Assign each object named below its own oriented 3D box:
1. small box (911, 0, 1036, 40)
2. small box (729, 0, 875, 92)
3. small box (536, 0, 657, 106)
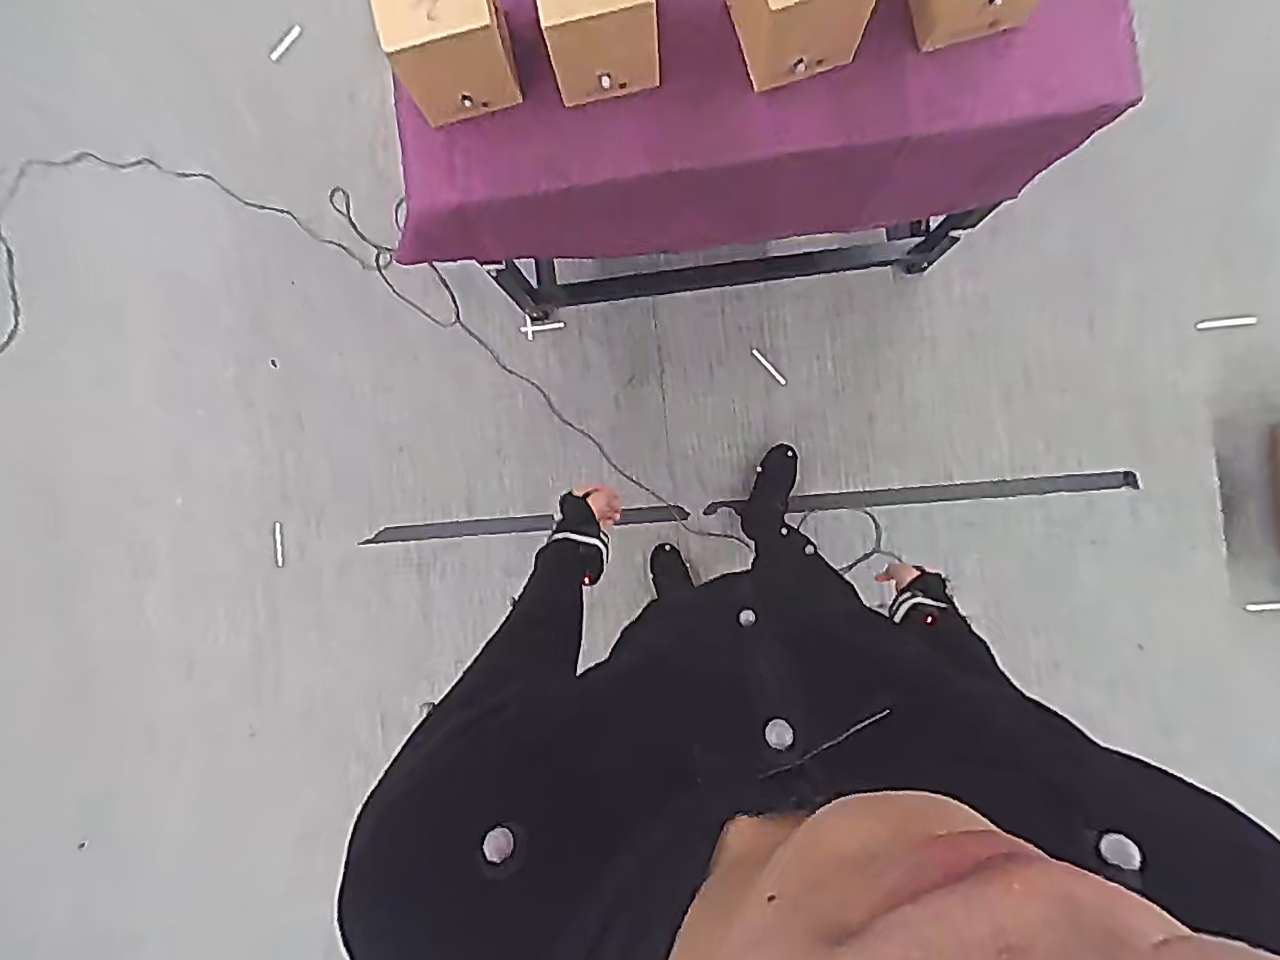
[{"bbox_3d":[0.507,-0.792,0.785,0.168,0.176,0.179,-13,88,4],"label":"small box"},{"bbox_3d":[0.237,-0.741,0.808,0.168,0.176,0.179,-17,88,5],"label":"small box"},{"bbox_3d":[-0.068,-0.728,0.831,0.168,0.176,0.179,-10,89,4],"label":"small box"}]
